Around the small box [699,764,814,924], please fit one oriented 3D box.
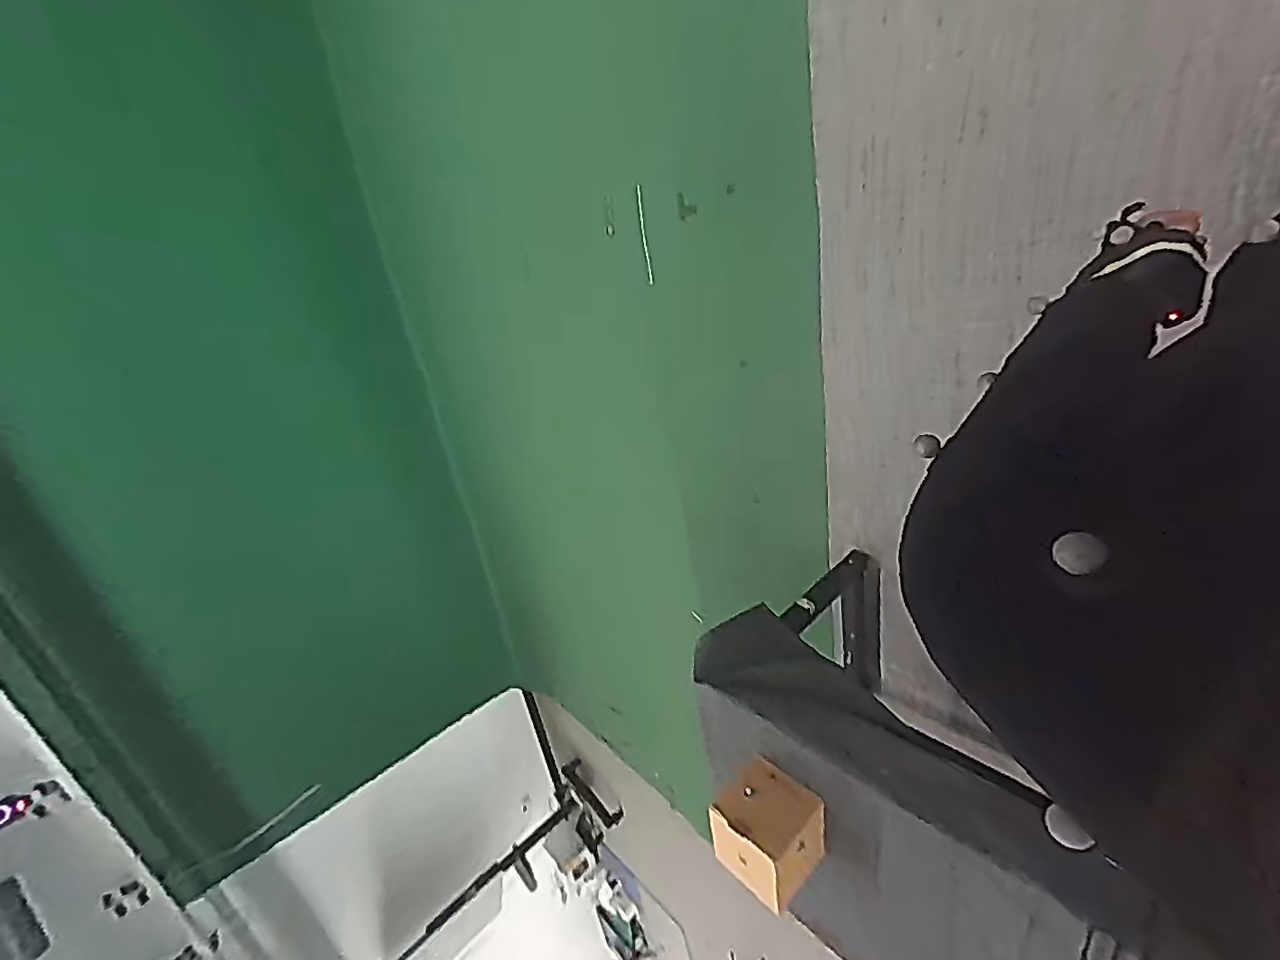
[{"bbox_3d":[0.243,0.734,1.111,0.168,0.176,0.179,18,126,46],"label":"small box"}]
